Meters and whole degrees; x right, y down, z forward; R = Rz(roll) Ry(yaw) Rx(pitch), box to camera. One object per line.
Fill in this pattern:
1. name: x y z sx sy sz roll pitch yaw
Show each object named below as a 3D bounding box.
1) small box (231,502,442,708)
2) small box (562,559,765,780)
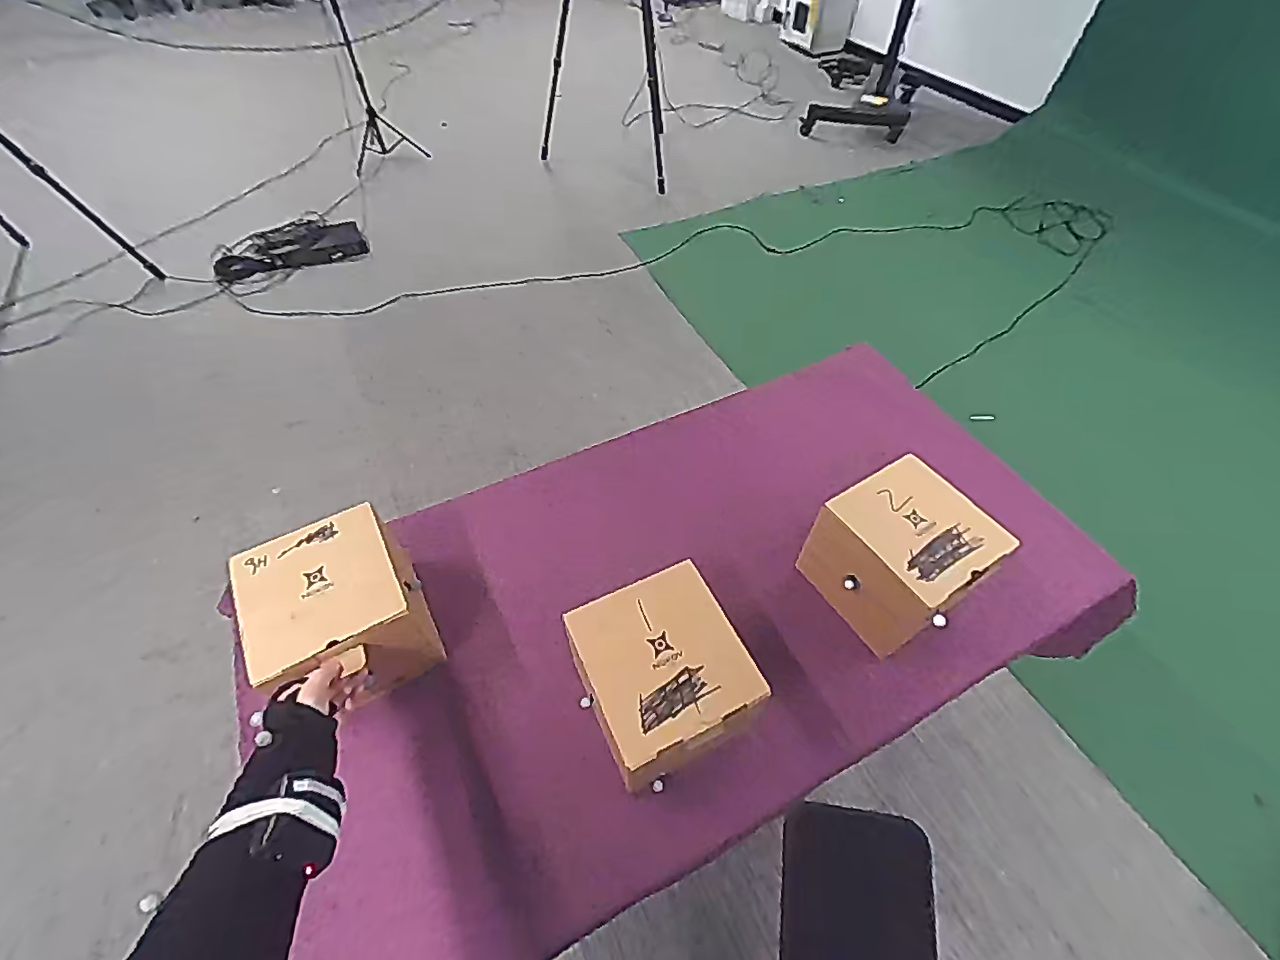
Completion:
1. small box: -0.373 0.166 0.688 0.168 0.176 0.179 -25 58 -19
2. small box: 0.022 0.231 0.643 0.168 0.176 0.179 -21 55 -16
